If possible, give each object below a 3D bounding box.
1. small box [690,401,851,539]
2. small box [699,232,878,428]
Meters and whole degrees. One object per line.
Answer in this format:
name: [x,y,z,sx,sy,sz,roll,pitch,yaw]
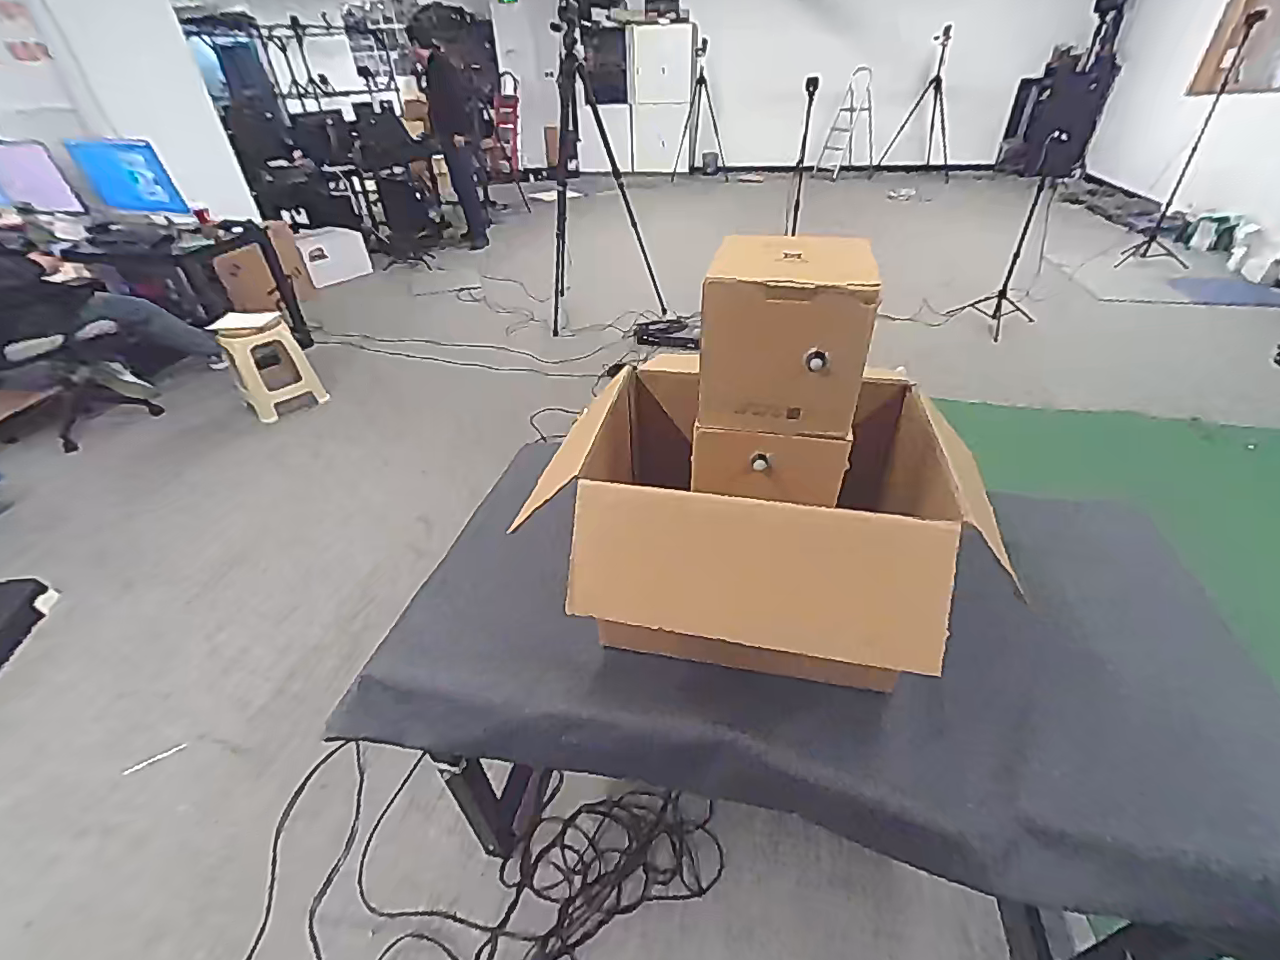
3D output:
small box: [0.164,-0.041,0.711,0.179,0.176,0.168,6,38,10]
small box: [0.161,-0.175,0.619,0.168,0.176,0.179,8,37,11]
